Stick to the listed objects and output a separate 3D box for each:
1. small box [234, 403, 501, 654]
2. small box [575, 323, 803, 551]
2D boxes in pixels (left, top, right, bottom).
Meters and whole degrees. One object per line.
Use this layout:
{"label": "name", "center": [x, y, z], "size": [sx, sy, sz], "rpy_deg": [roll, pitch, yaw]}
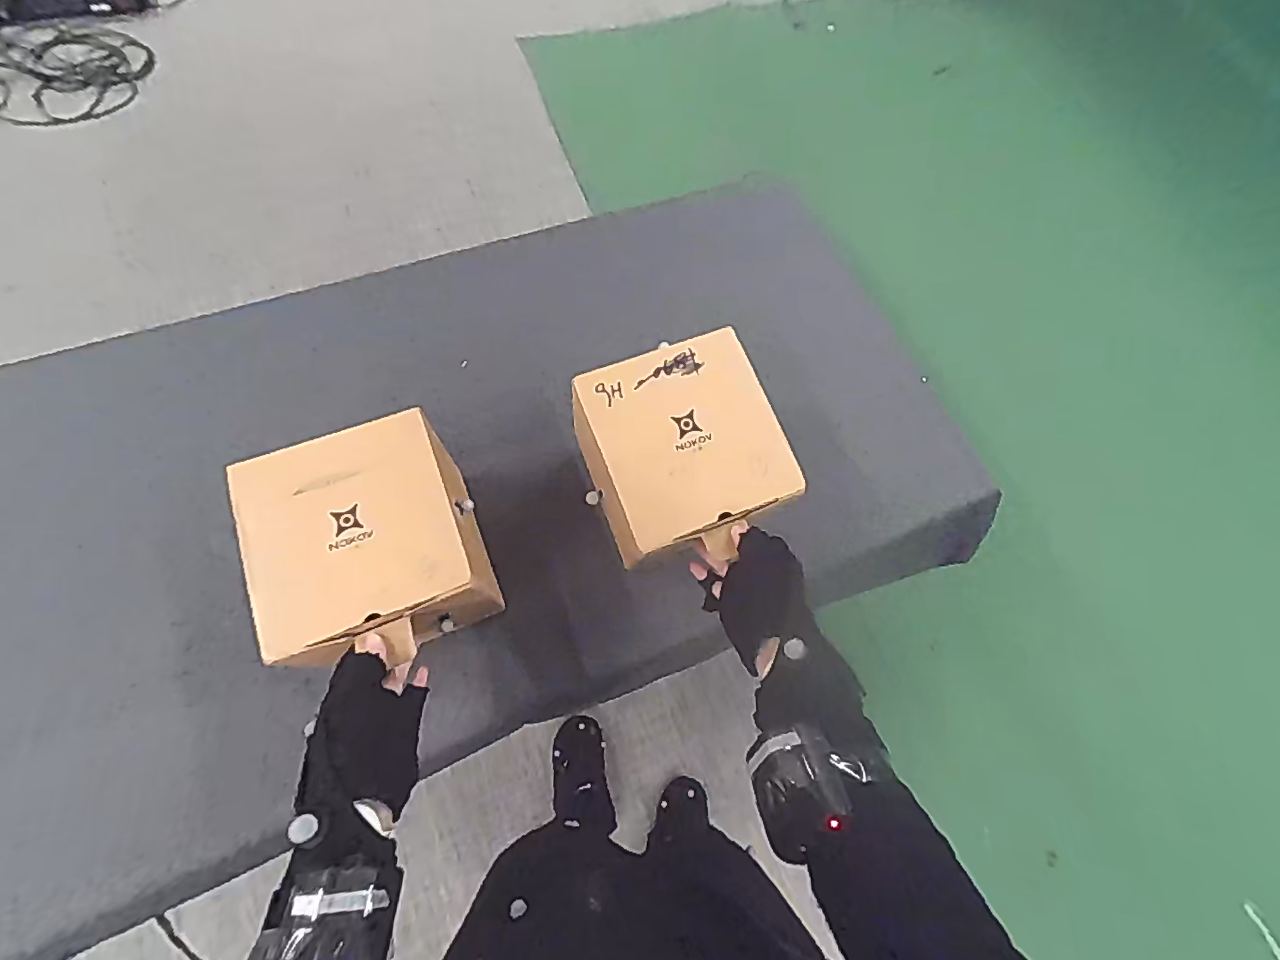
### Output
{"label": "small box", "center": [-0.248, 0.057, 0.531], "size": [0.168, 0.176, 0.179], "rpy_deg": [-20, 73, -12]}
{"label": "small box", "center": [0.037, -0.031, 0.573], "size": [0.168, 0.176, 0.179], "rpy_deg": [-20, 81, -11]}
